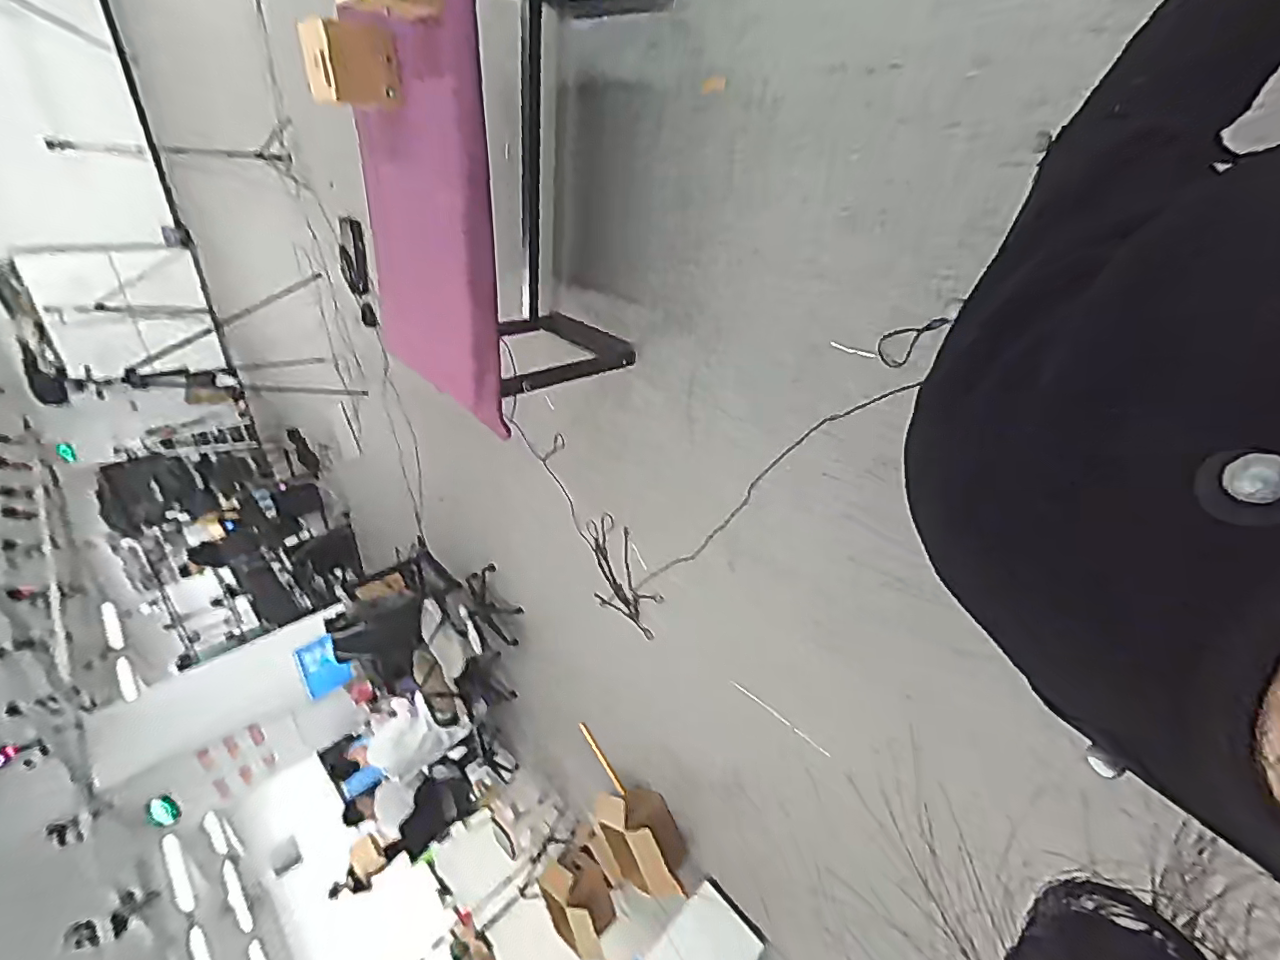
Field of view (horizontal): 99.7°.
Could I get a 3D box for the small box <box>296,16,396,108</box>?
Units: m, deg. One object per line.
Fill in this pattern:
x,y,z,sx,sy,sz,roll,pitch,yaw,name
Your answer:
-0.745,-1.069,1.391,0.179,0.176,0.168,30,129,36,small box
